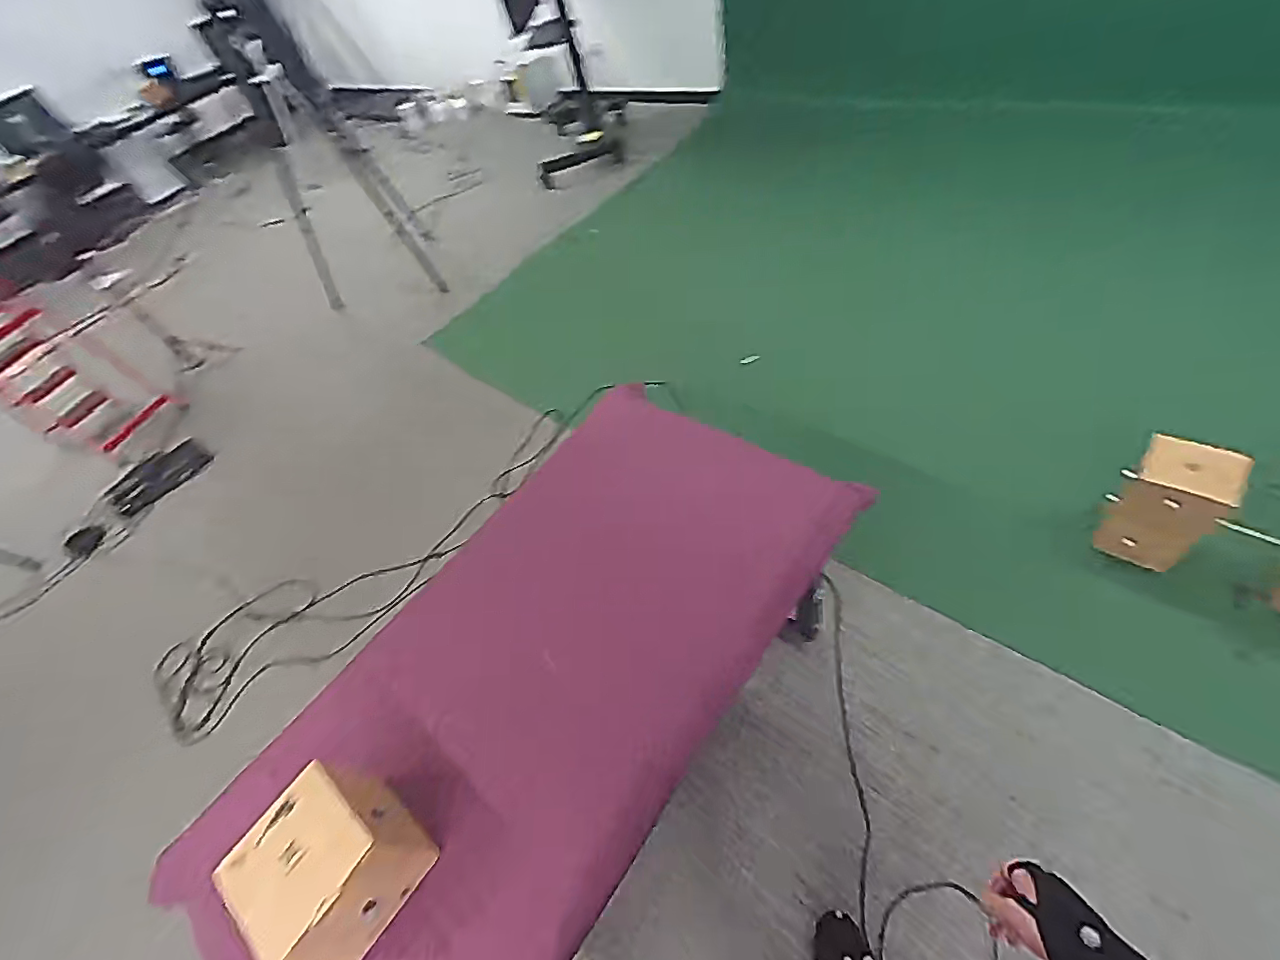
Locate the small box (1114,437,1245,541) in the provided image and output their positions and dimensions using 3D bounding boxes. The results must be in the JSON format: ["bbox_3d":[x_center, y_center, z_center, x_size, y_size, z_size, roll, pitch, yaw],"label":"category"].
[{"bbox_3d":[1.344,0.025,1.359,0.179,0.176,0.168,25,64,32],"label":"small box"}]

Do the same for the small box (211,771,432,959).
[{"bbox_3d":[-0.433,0.548,0.759,0.179,0.176,0.168,25,63,31],"label":"small box"}]

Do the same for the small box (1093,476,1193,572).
[{"bbox_3d":[1.388,0.122,1.484,0.168,0.176,0.179,25,63,32],"label":"small box"}]
